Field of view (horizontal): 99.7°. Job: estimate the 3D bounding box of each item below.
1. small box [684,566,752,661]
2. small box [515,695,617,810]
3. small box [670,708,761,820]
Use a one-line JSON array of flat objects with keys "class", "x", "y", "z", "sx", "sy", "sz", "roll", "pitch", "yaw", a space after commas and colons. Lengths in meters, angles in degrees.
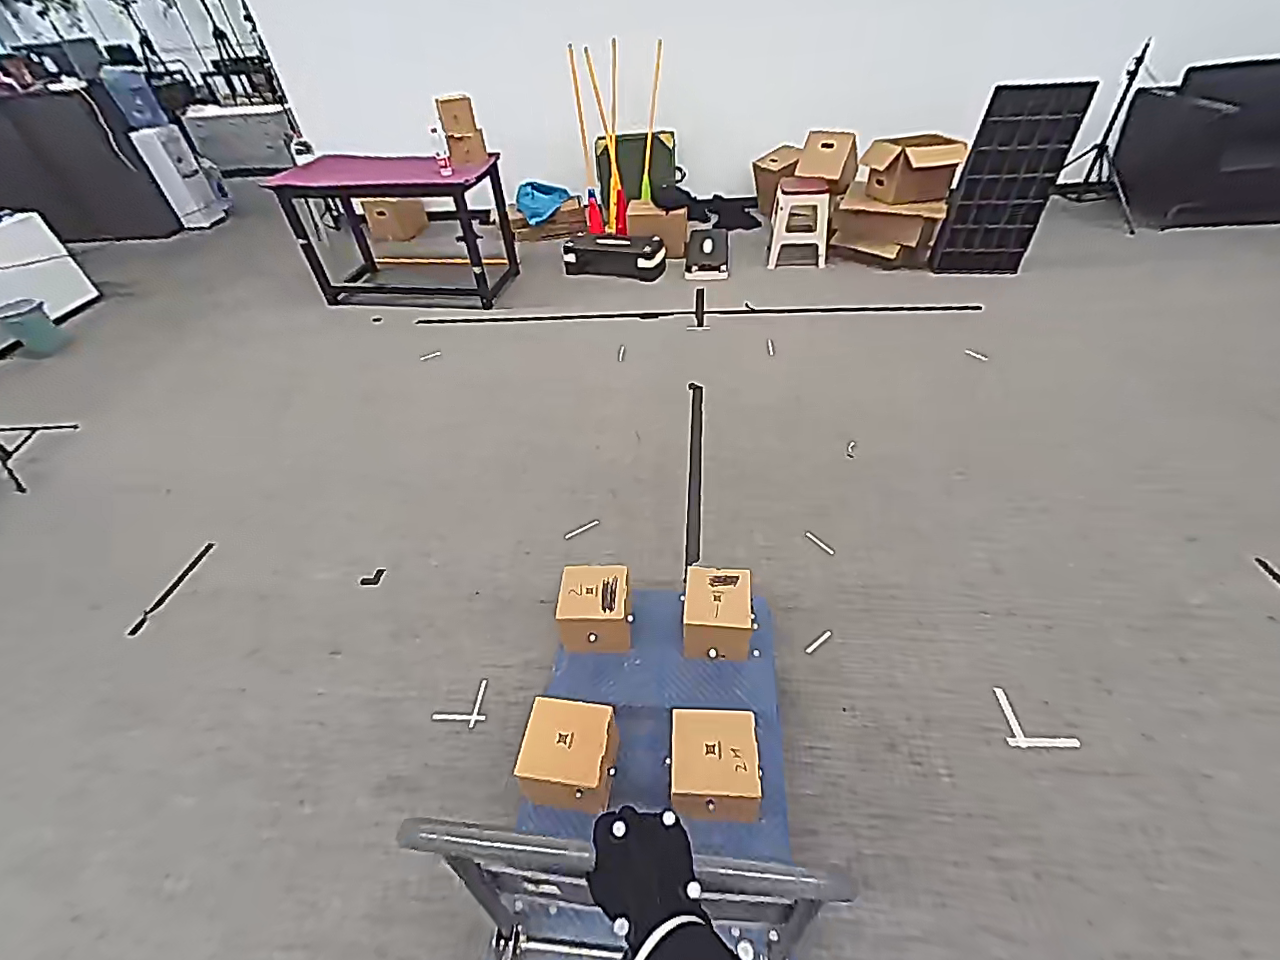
[{"class": "small box", "x": 0.204, "y": 0.349, "z": 1.417, "sx": 0.168, "sy": 0.176, "sz": 0.179, "roll": 3, "pitch": 45, "yaw": 8}, {"class": "small box", "x": -0.152, "y": 0.597, "z": 1.182, "sx": 0.179, "sy": 0.176, "sz": 0.168, "roll": 5, "pitch": 43, "yaw": 7}, {"class": "small box", "x": 0.156, "y": 0.605, "z": 1.149, "sx": 0.179, "sy": 0.176, "sz": 0.168, "roll": 1, "pitch": 44, "yaw": 5}]
